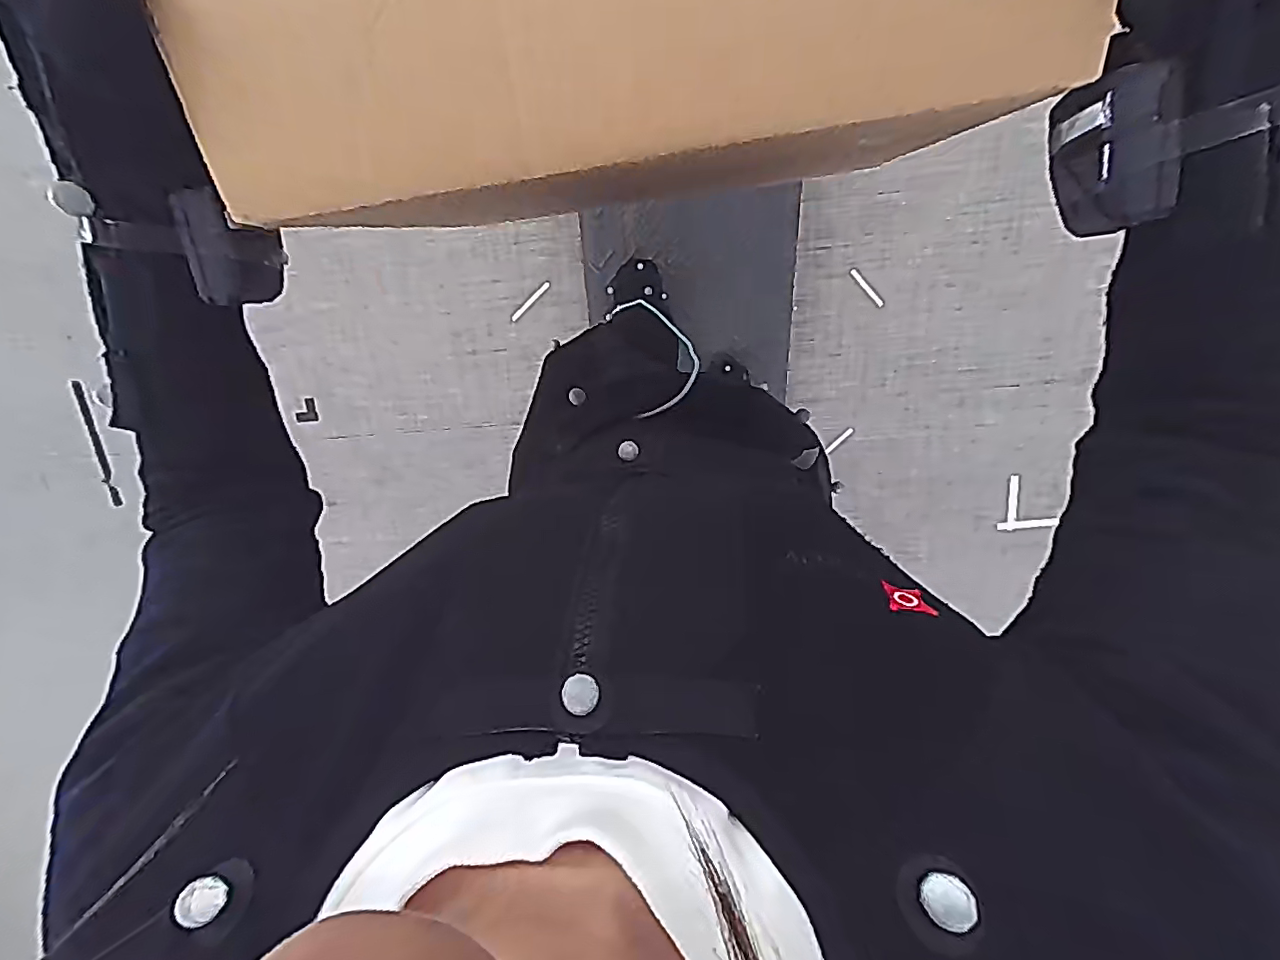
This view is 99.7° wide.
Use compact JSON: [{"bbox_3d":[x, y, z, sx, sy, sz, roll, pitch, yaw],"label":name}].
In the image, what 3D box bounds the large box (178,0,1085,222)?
[{"bbox_3d":[-0.017,-0.361,0.335,0.408,0.320,0.320,-5,115,9],"label":"large box"}]
